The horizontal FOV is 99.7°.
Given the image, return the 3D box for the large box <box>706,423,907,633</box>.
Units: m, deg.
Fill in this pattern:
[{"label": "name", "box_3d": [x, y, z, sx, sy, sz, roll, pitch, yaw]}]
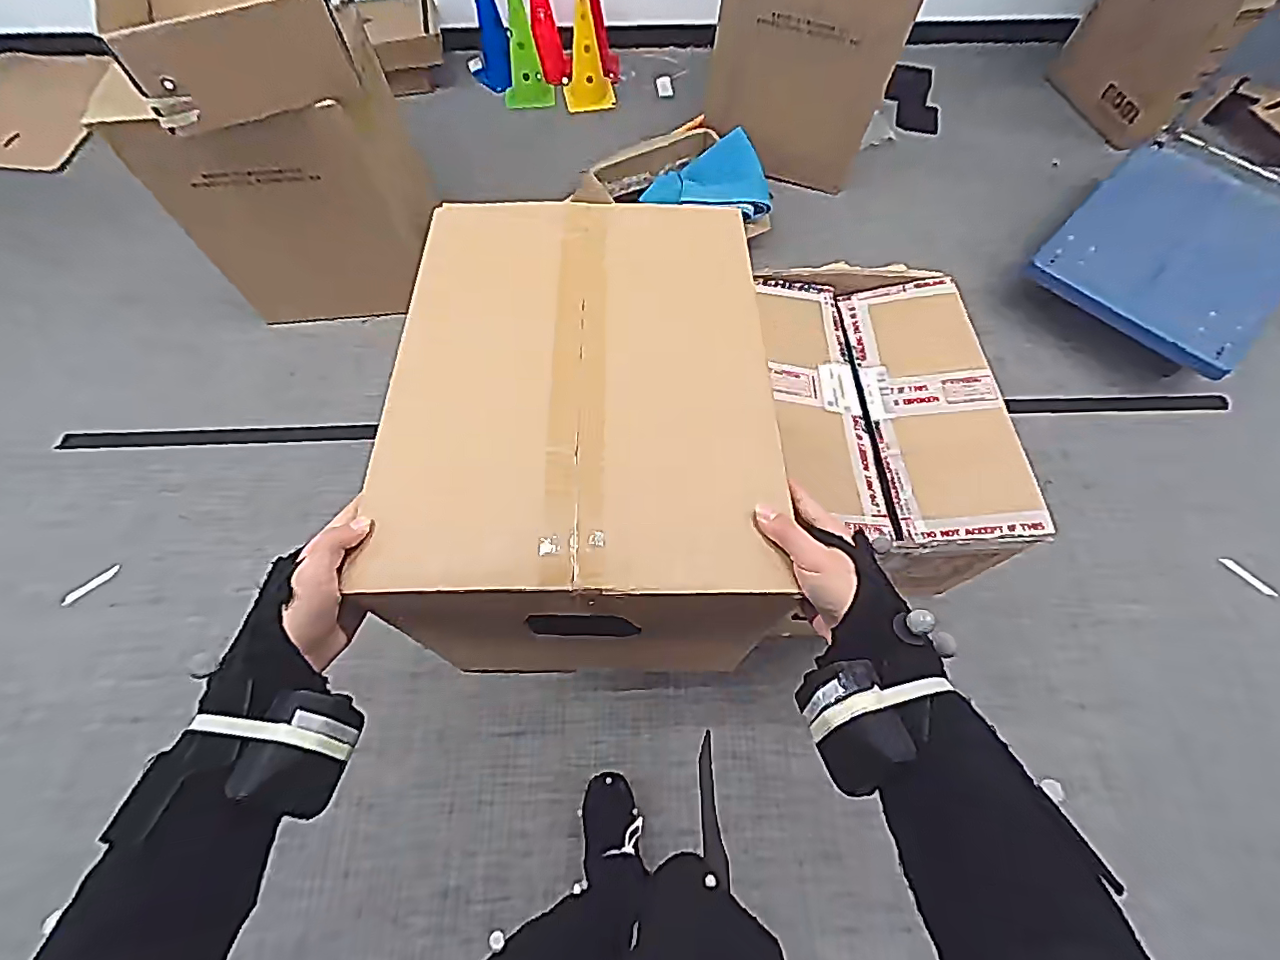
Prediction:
[{"label": "large box", "box_3d": [0.345, 0.120, 1.248, 0.320, 0.320, 0.408, -3, 65, -2]}]
